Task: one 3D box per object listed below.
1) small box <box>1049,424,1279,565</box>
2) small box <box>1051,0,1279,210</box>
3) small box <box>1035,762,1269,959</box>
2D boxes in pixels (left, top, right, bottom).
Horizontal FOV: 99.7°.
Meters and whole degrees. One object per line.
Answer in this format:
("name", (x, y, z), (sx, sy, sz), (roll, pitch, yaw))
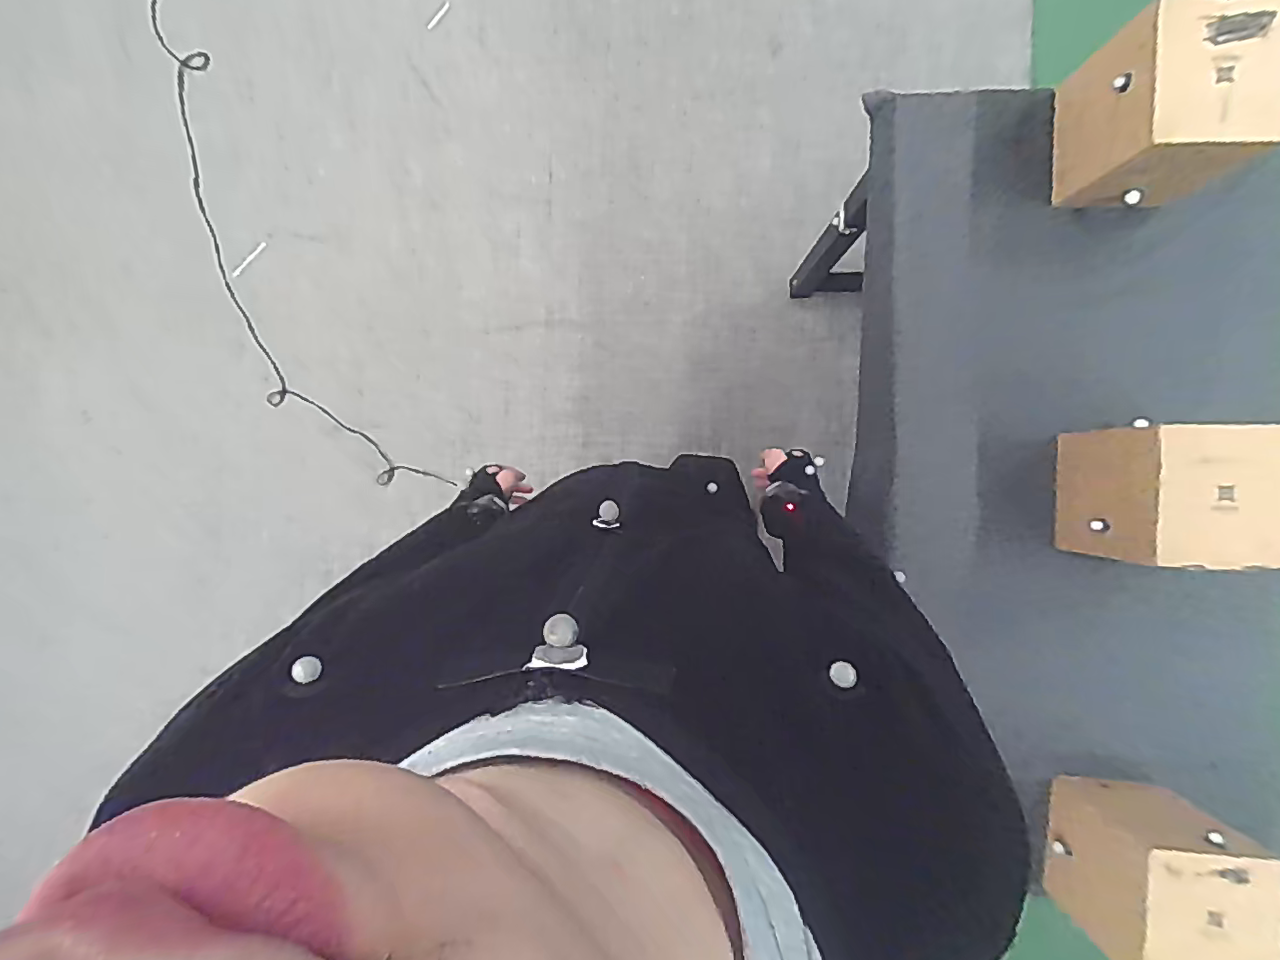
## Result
("small box", (0.705, 0.015, 0.745), (0.168, 0.176, 0.179), (0, 91, -1))
("small box", (0.694, -0.489, 0.723), (0.168, 0.176, 0.179), (1, 93, 1))
("small box", (0.698, 0.533, 0.760), (0.168, 0.176, 0.179), (5, 92, 1))
